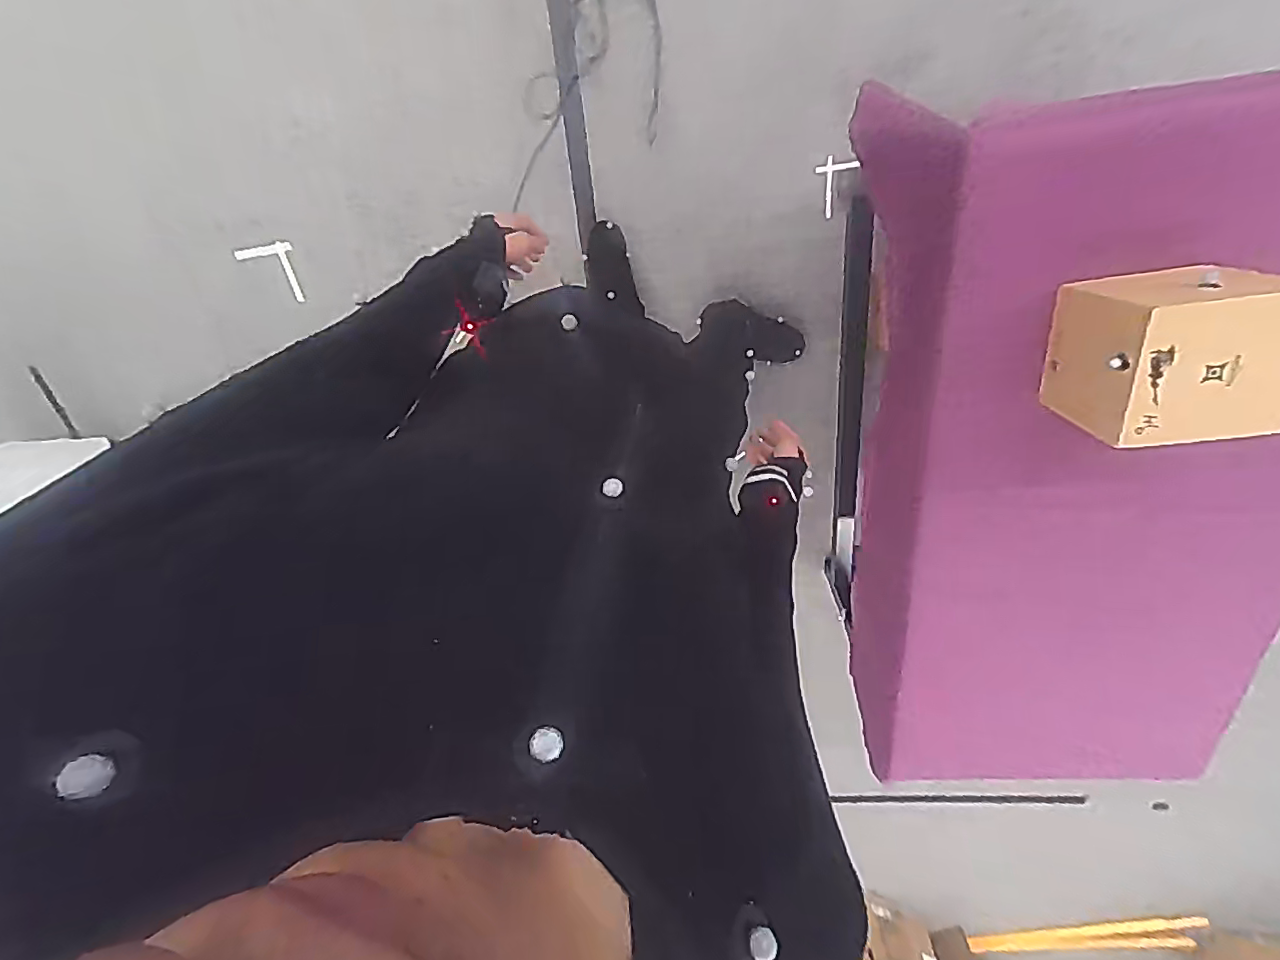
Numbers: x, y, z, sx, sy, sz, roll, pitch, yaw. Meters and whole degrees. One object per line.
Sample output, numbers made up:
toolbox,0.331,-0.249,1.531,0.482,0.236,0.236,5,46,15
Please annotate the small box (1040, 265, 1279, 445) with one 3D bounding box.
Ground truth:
small box,0.643,-0.159,0.662,0.179,0.176,0.168,-6,117,8
